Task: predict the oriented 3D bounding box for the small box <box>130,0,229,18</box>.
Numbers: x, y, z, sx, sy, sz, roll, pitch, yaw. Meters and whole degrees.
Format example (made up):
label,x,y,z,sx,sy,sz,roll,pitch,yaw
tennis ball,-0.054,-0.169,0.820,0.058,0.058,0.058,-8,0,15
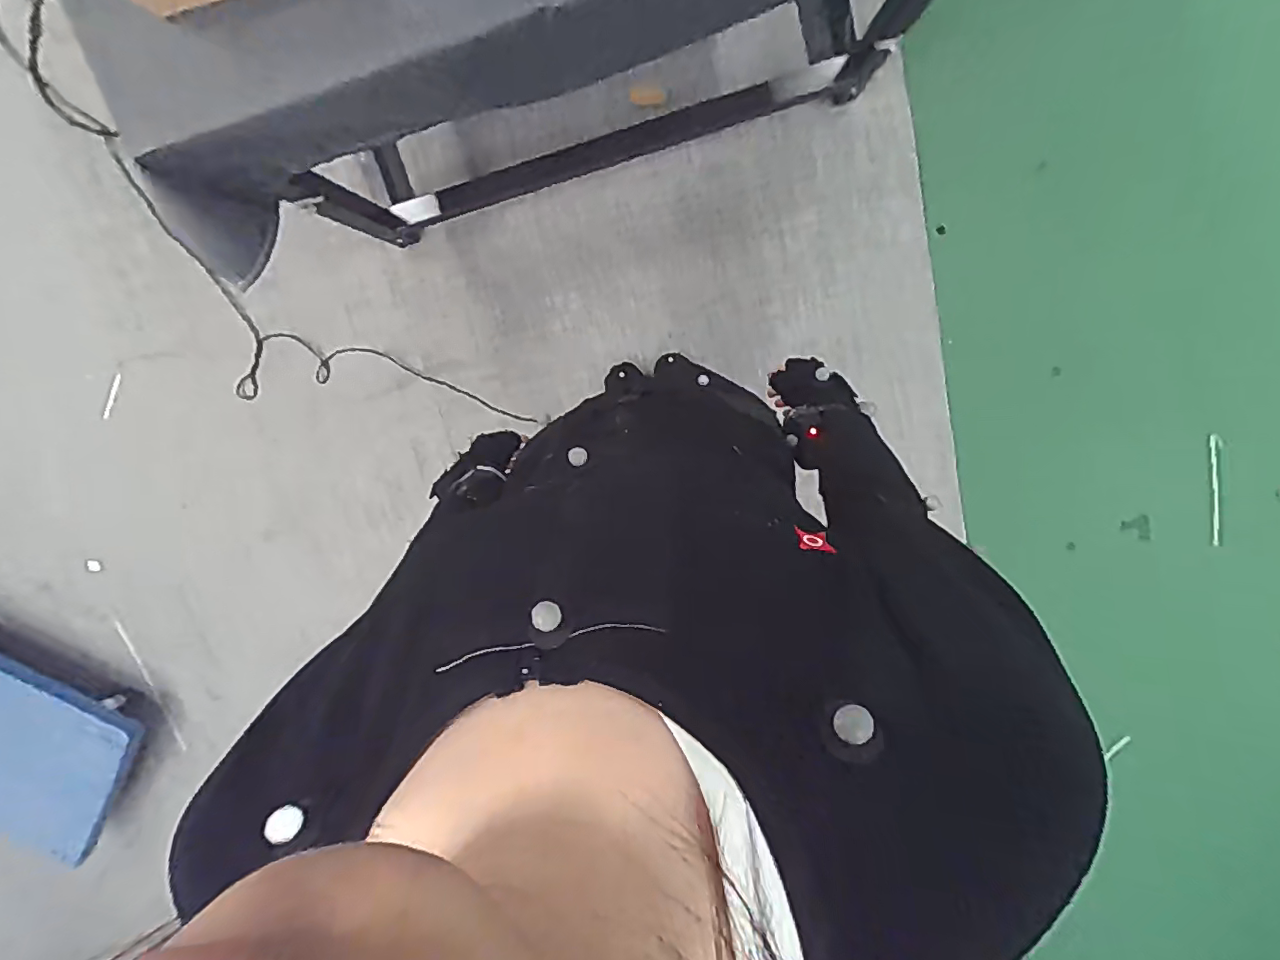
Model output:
label,x,y,z,sx,sy,sz,roll,pitch,yaw
small box,-0.512,-0.623,0.544,0.179,0.176,0.168,-12,102,5
